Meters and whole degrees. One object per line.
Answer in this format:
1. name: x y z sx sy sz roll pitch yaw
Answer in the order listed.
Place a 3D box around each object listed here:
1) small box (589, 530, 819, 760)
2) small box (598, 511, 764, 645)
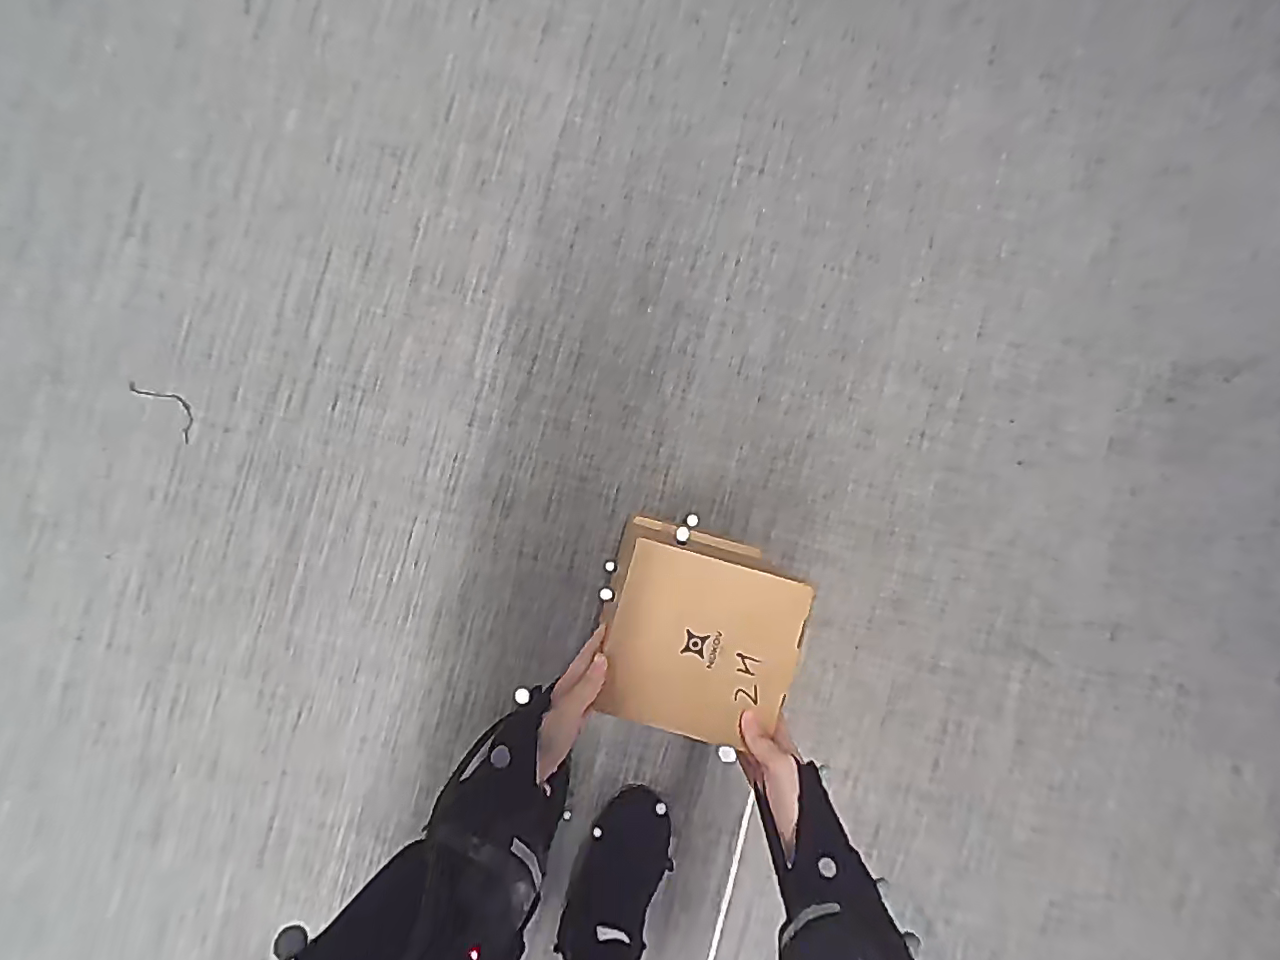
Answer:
1. small box: 0.056 0.155 0.570 0.179 0.176 0.168 16 90 -3
2. small box: 0.048 0.148 0.735 0.168 0.176 0.179 16 88 -3
